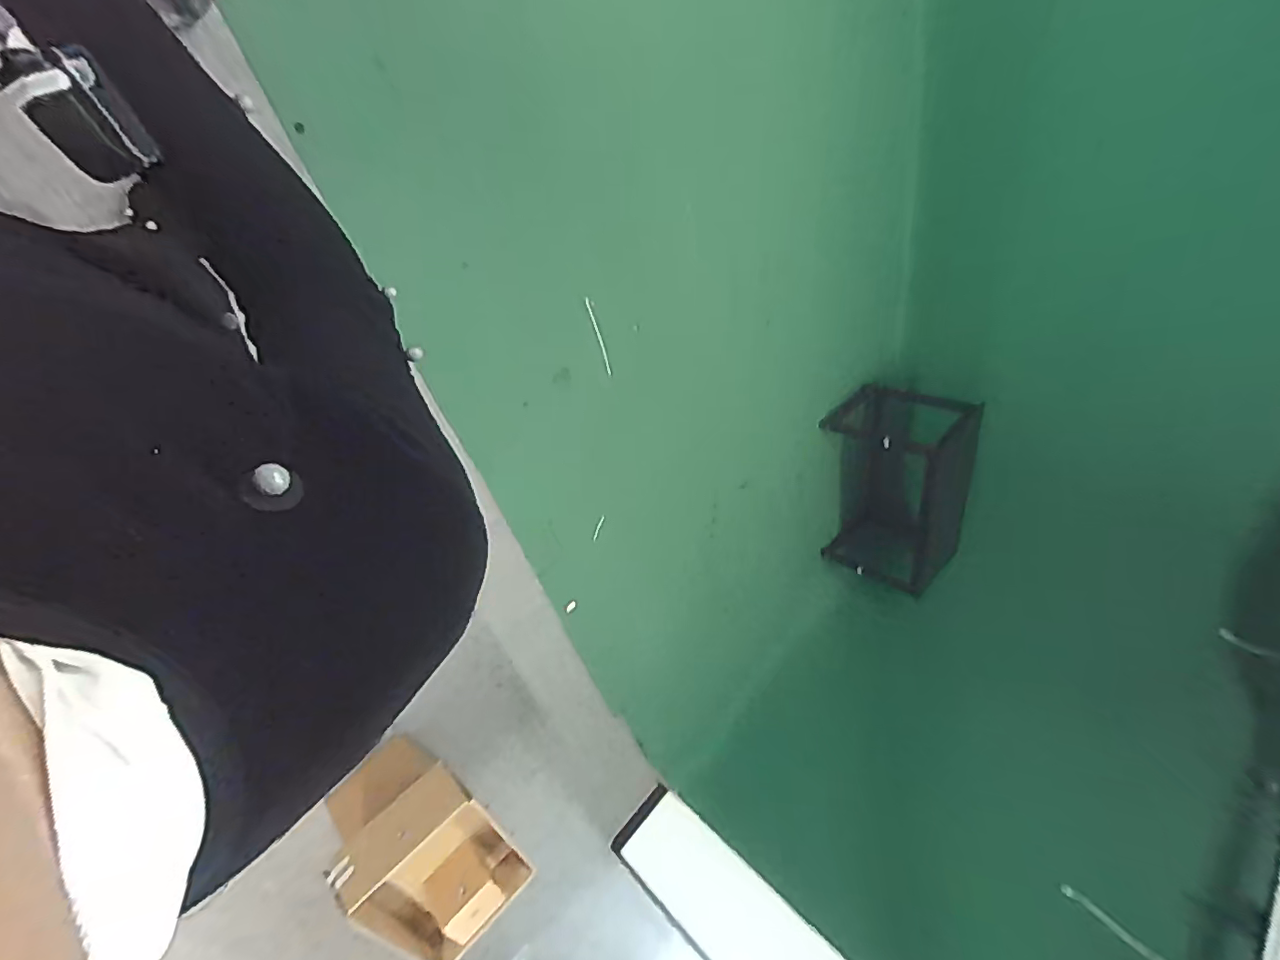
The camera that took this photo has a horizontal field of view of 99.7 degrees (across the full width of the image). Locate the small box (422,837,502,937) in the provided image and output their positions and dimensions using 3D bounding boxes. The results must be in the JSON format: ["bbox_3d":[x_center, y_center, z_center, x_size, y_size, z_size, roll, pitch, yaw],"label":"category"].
[{"bbox_3d":[-0.593,1.338,1.784,0.179,0.176,0.168,-38,132,-28],"label":"small box"}]
